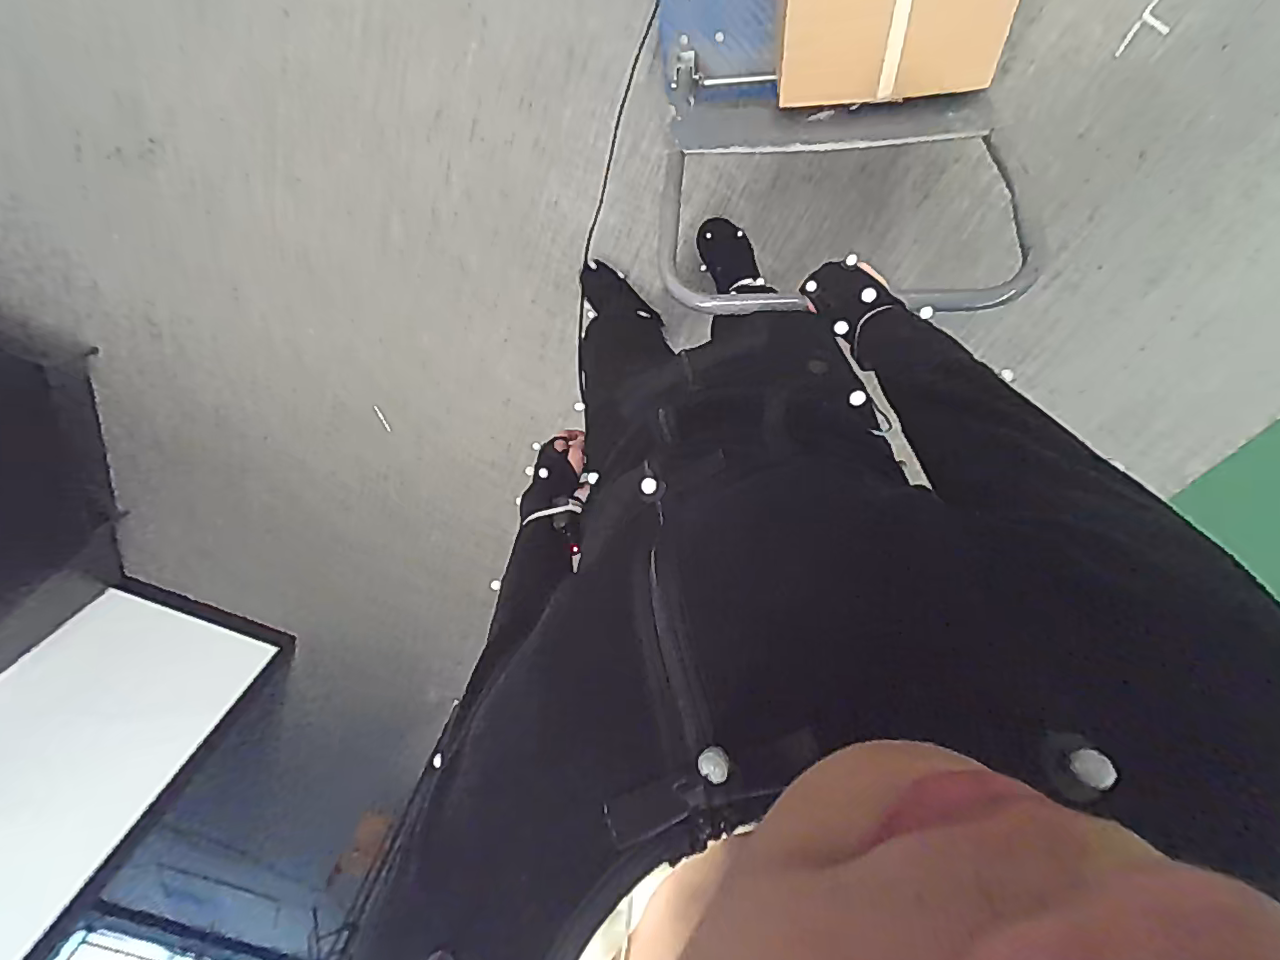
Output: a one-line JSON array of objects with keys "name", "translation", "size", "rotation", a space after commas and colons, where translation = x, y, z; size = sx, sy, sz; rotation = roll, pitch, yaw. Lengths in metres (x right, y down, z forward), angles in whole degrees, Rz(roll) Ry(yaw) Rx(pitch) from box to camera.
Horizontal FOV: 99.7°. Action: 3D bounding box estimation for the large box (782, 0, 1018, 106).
[{"name": "large box", "translation": [0.376, -0.842, 0.786], "size": [0.320, 0.320, 0.408], "rotation": [0, 142, 10]}]
